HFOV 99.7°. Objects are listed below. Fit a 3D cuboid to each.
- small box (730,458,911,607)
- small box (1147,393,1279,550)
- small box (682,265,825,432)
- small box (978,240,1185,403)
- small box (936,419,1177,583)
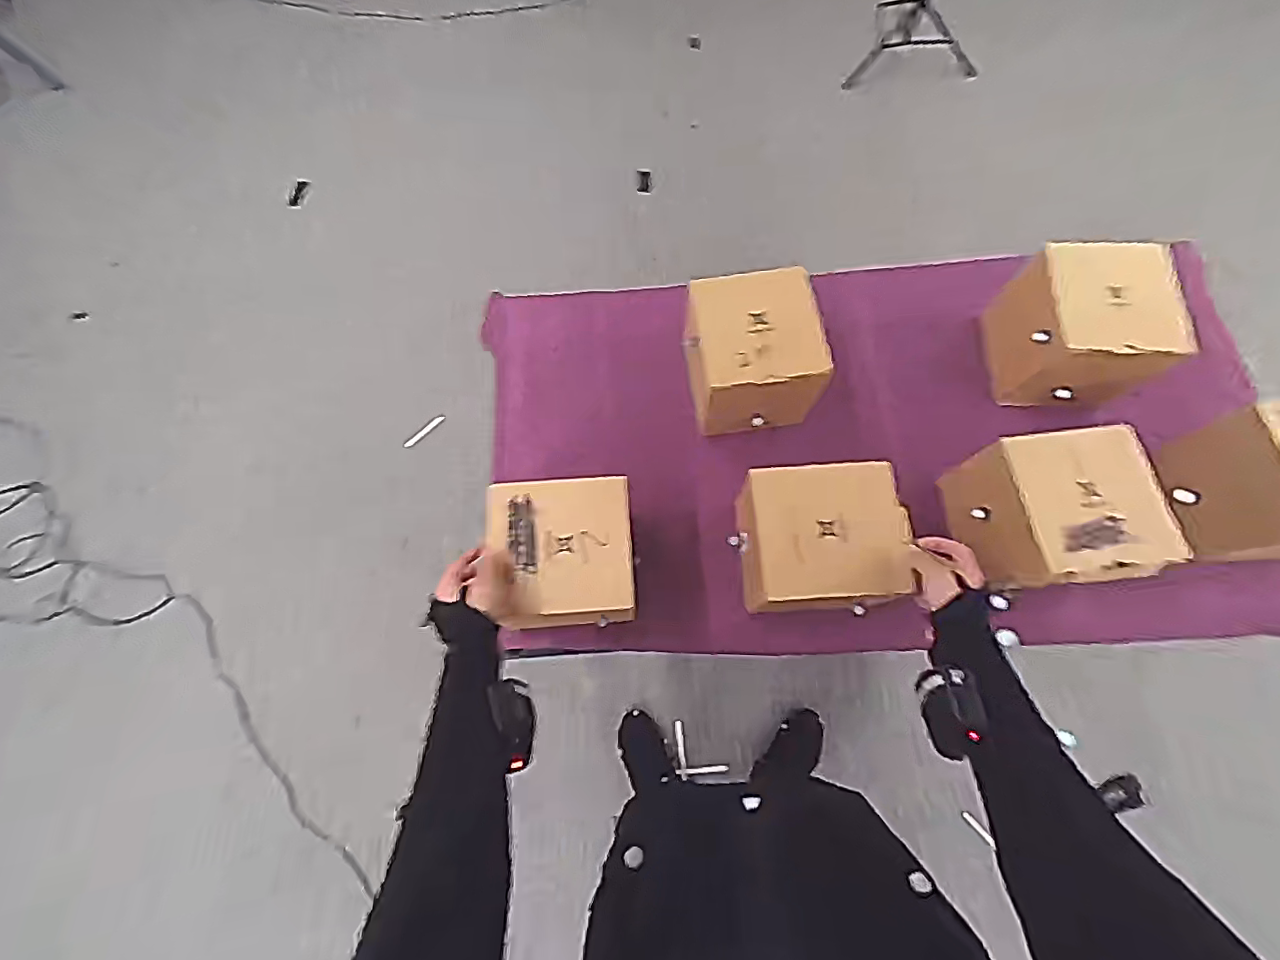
[{"bbox_3d":[0.226,0.077,0.726,0.179,0.176,0.168,-3,71,0],"label":"small box"},{"bbox_3d":[0.855,-0.004,0.727,0.168,0.176,0.179,-3,70,2],"label":"small box"},{"bbox_3d":[0.158,-0.192,0.821,0.168,0.176,0.179,-8,72,0],"label":"small box"},{"bbox_3d":[0.644,-0.234,0.817,0.168,0.176,0.179,1,73,3],"label":"small box"},{"bbox_3d":[0.535,0.039,0.727,0.168,0.176,0.179,-6,70,0],"label":"small box"}]
